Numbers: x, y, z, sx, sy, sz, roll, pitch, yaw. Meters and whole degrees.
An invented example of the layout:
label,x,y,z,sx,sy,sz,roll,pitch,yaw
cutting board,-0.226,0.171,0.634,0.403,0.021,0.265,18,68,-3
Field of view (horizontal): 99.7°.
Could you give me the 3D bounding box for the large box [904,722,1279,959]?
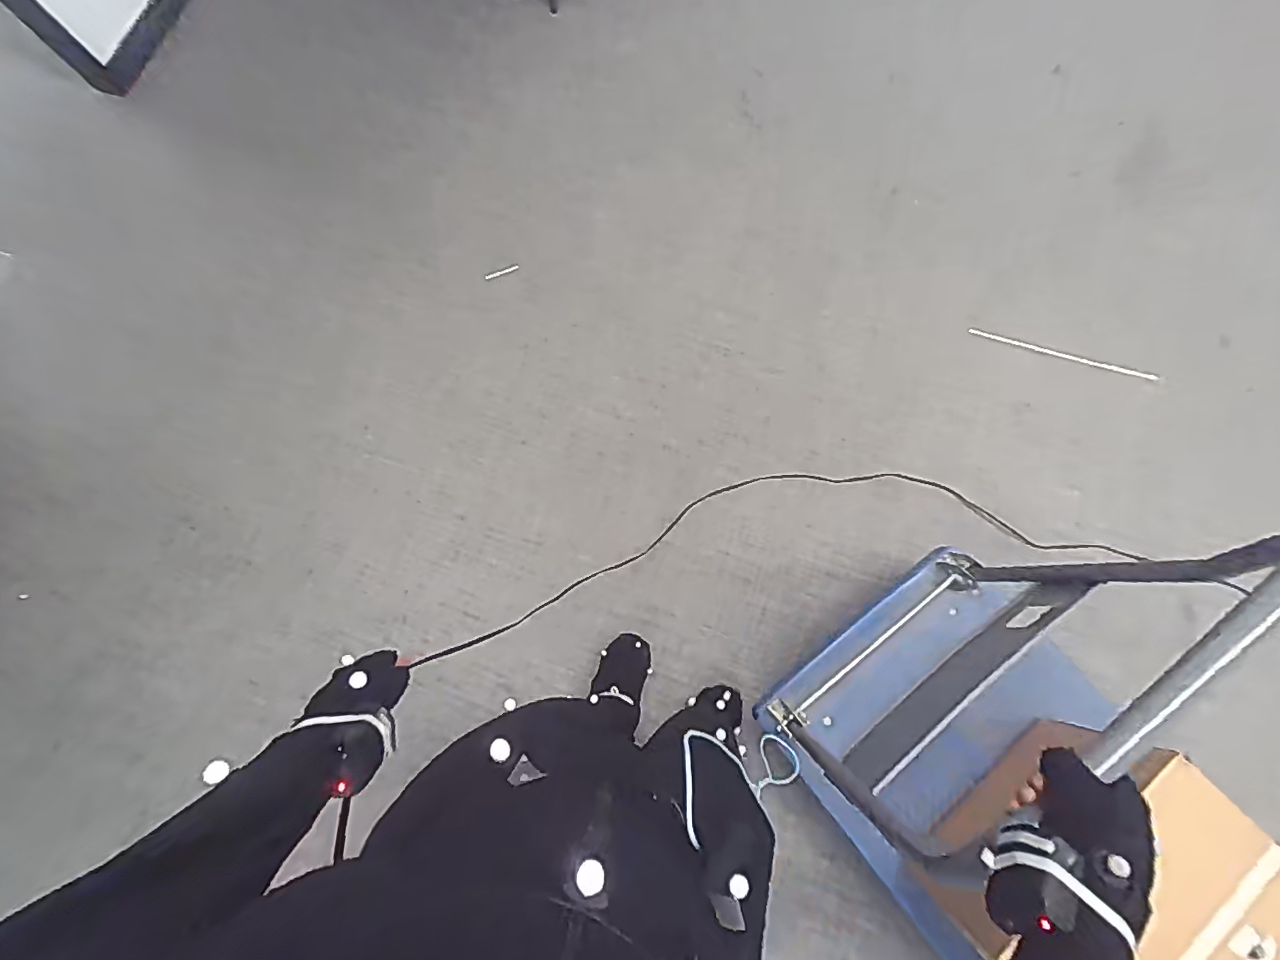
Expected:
label,x,y,z,sx,sy,sz,roll,pitch,yaw
large box,0.731,0.675,0.876,0.408,0.320,0.320,-41,78,-9
